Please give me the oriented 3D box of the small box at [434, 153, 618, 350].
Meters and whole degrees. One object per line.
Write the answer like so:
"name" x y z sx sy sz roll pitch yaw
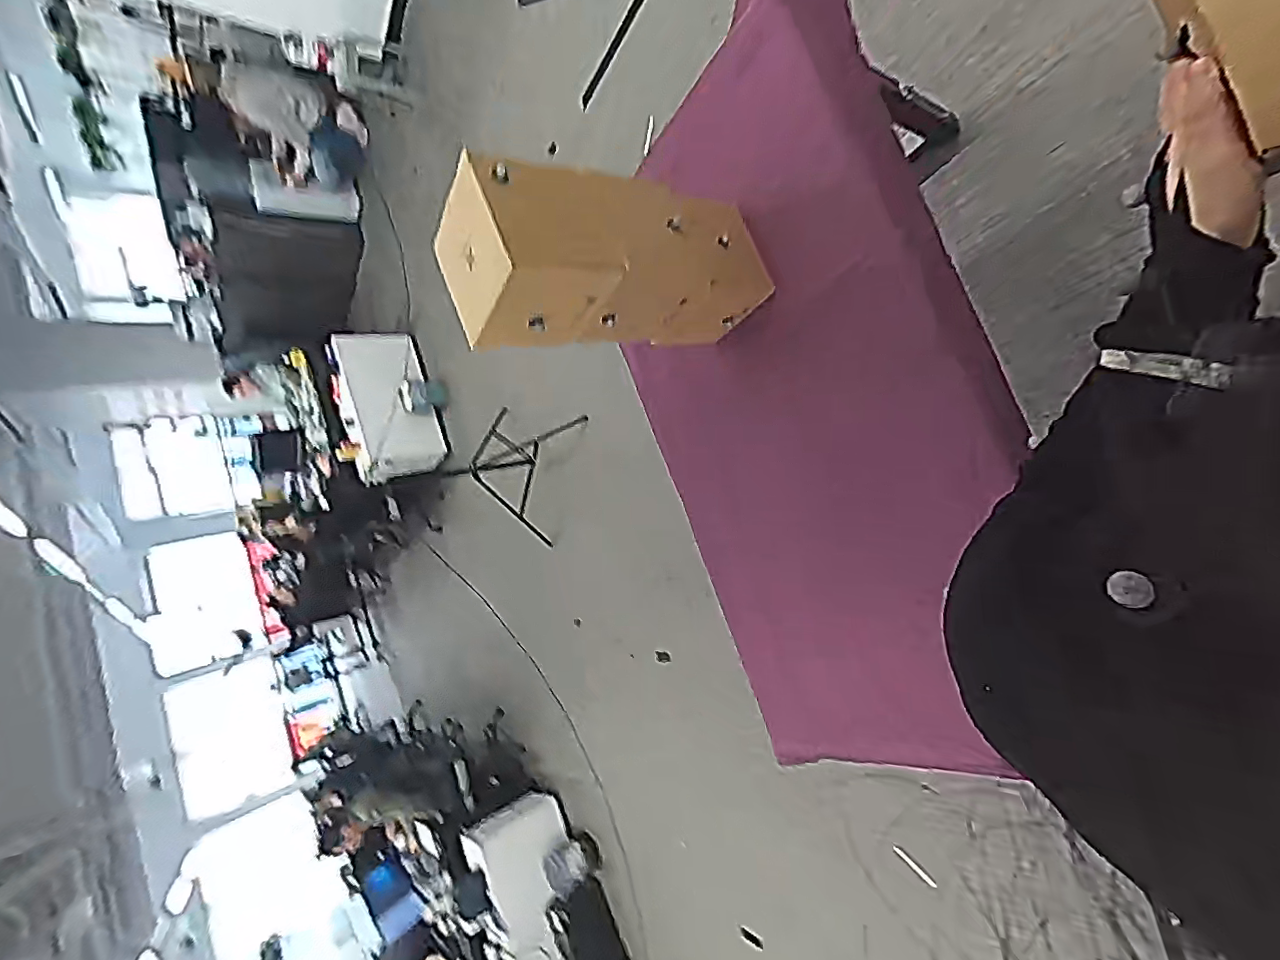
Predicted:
"small box" -0.155 -0.299 0.732 0.168 0.176 0.179 -39 71 49

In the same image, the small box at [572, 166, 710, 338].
"small box" -0.026 -0.334 0.826 0.168 0.176 0.179 -39 70 50

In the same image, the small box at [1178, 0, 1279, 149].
"small box" 0.397 -0.300 0.271 0.168 0.176 0.179 -23 87 47
